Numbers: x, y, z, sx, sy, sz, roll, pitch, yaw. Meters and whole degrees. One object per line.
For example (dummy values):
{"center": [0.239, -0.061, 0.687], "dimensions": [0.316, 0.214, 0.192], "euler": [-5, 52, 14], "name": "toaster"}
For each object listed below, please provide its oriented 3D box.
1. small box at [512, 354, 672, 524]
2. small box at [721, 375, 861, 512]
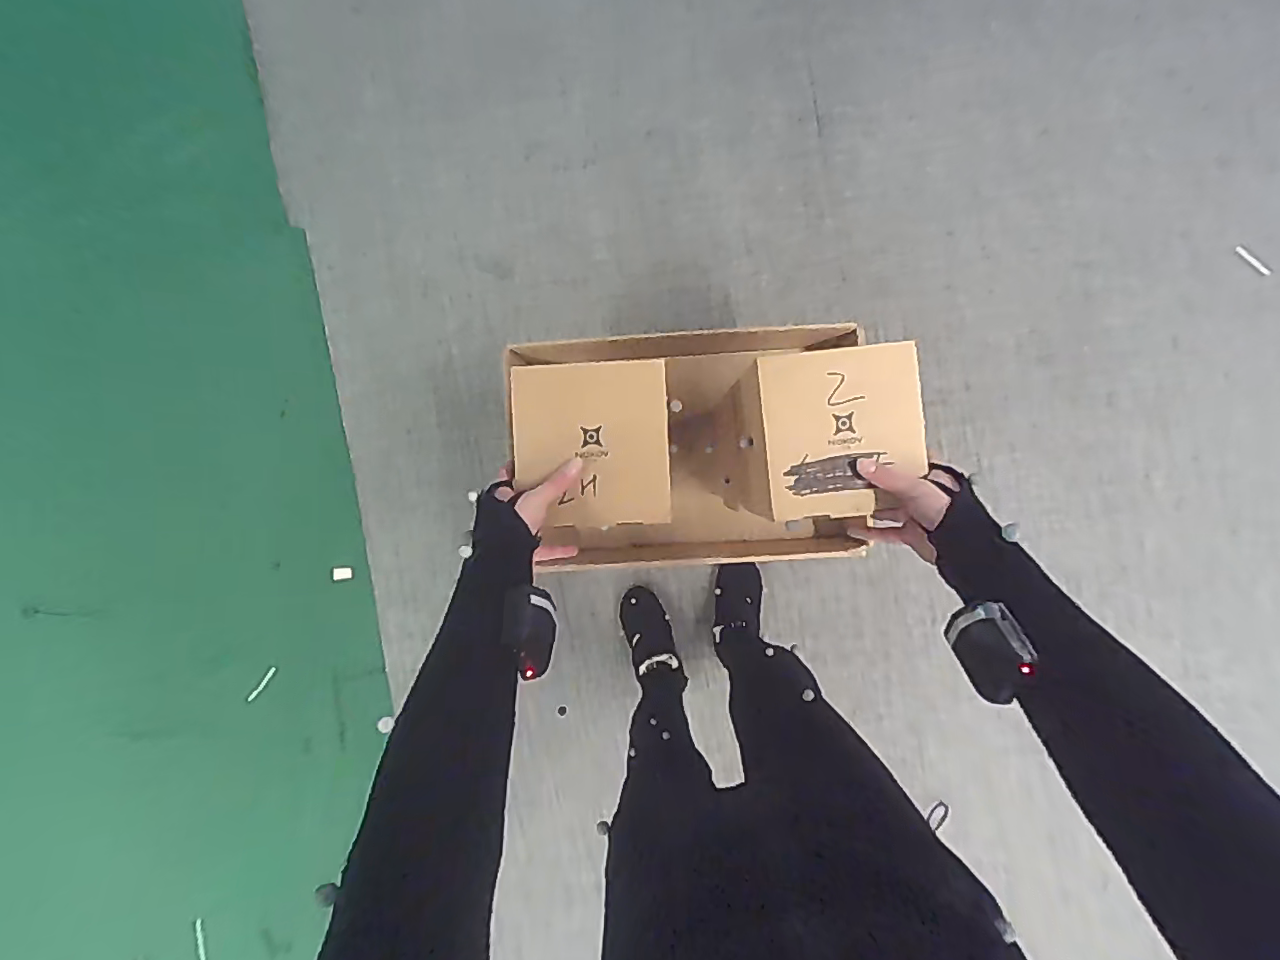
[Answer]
{"center": [-0.049, -0.043, 0.641], "dimensions": [0.168, 0.176, 0.179], "euler": [-2, 91, 2], "name": "small box"}
{"center": [0.211, -0.050, 0.792], "dimensions": [0.168, 0.176, 0.179], "euler": [-3, 91, 2], "name": "small box"}
